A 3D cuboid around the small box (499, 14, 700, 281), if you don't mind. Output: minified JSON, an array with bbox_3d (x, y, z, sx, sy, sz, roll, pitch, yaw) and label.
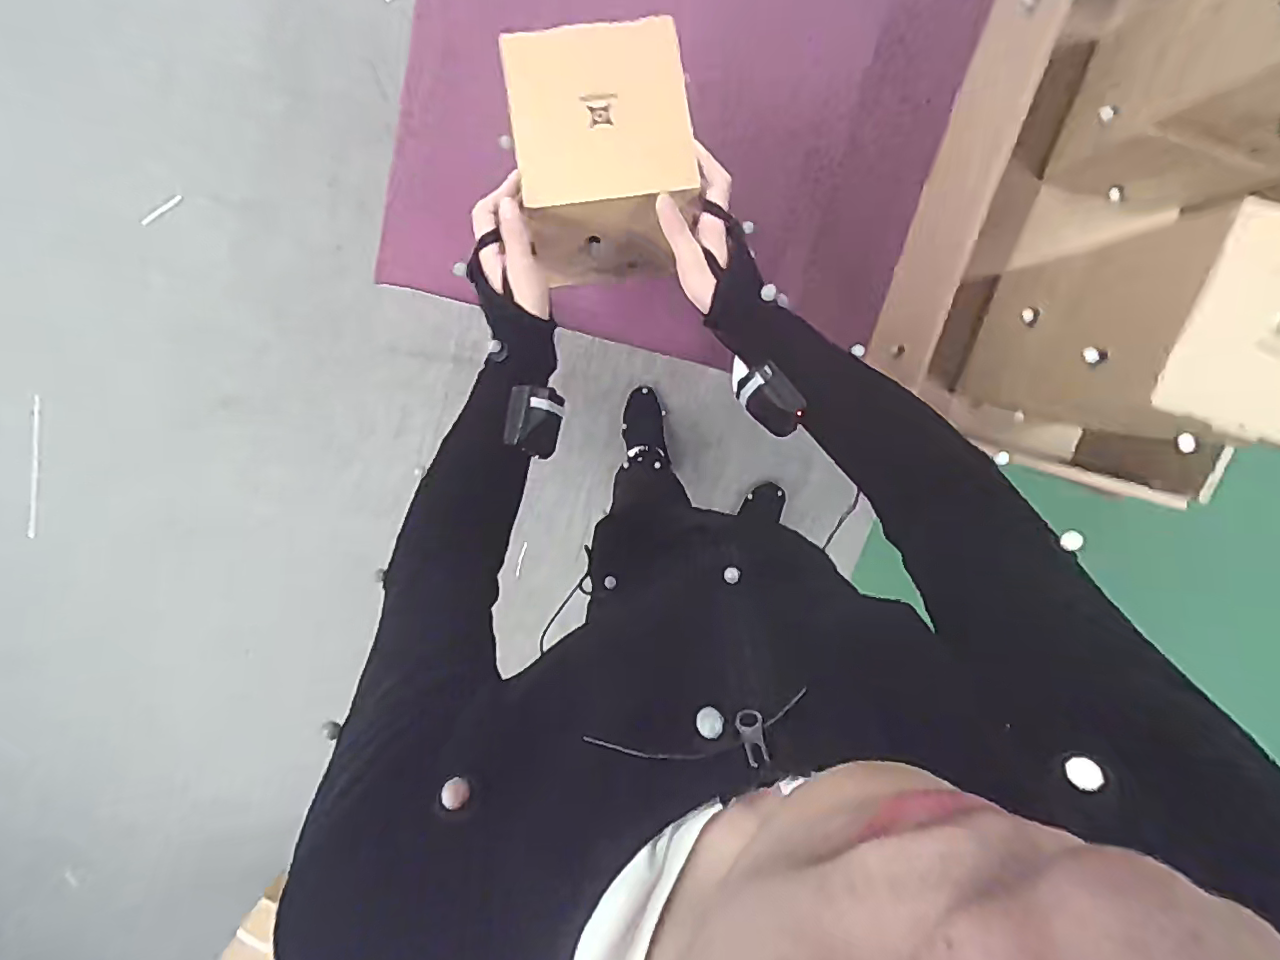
[{"bbox_3d":[-0.038,-0.328,0.571,0.168,0.176,0.179,-9,86,-3],"label":"small box"}]

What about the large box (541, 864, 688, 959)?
[{"bbox_3d":[-0.073,1.555,1.770,0.408,0.320,0.320,-17,101,4],"label":"large box"}]

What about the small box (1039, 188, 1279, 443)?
[{"bbox_3d":[0.542,-0.144,0.527,0.168,0.176,0.179,17,101,0],"label":"small box"}]
